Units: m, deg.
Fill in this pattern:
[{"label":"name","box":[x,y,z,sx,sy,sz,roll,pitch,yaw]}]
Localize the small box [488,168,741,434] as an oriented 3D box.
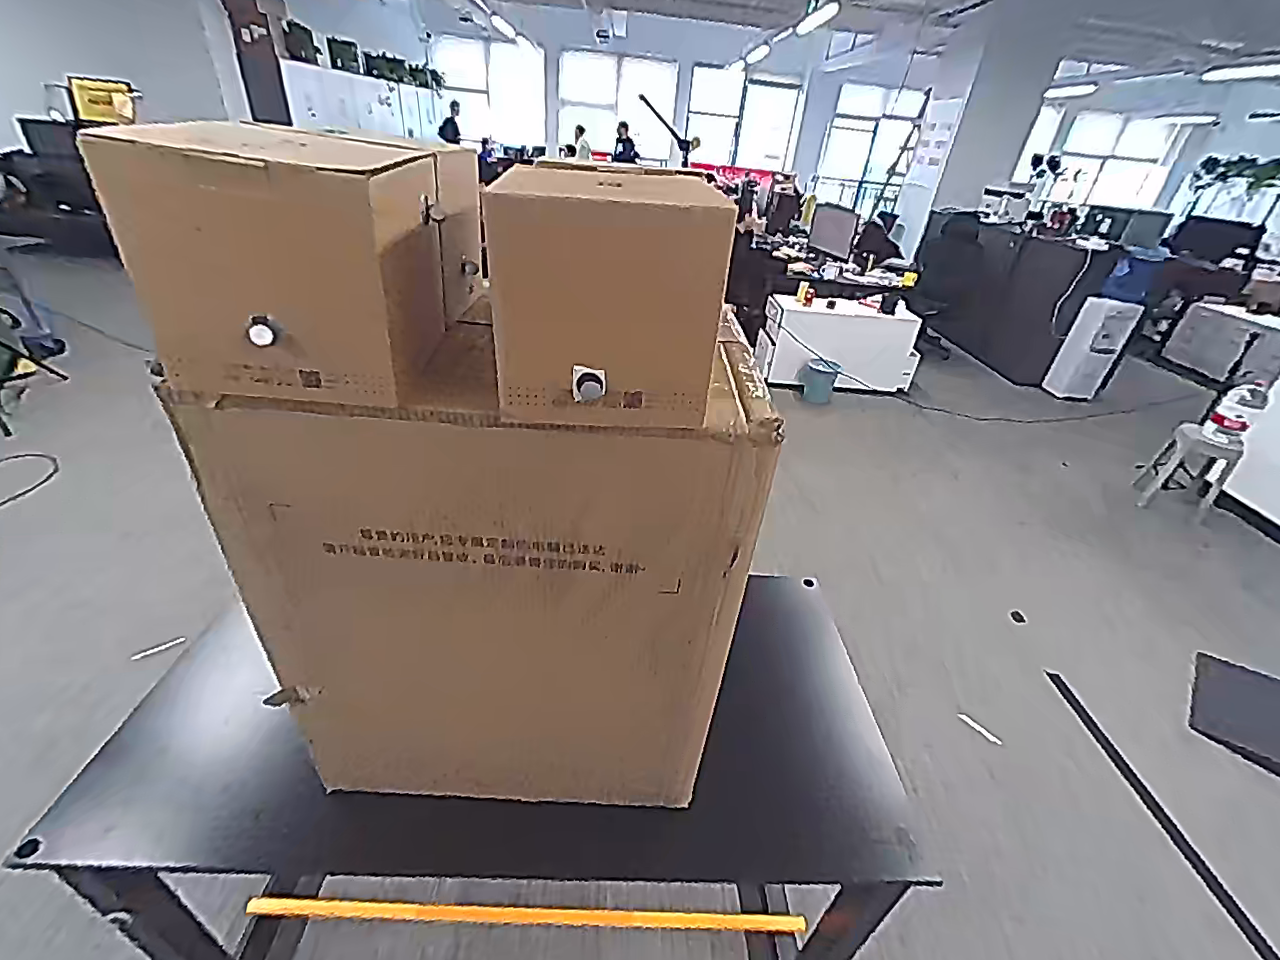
[{"label":"small box","box":[-0.026,-0.154,0.457,0.168,0.176,0.179,0,35,-6]}]
